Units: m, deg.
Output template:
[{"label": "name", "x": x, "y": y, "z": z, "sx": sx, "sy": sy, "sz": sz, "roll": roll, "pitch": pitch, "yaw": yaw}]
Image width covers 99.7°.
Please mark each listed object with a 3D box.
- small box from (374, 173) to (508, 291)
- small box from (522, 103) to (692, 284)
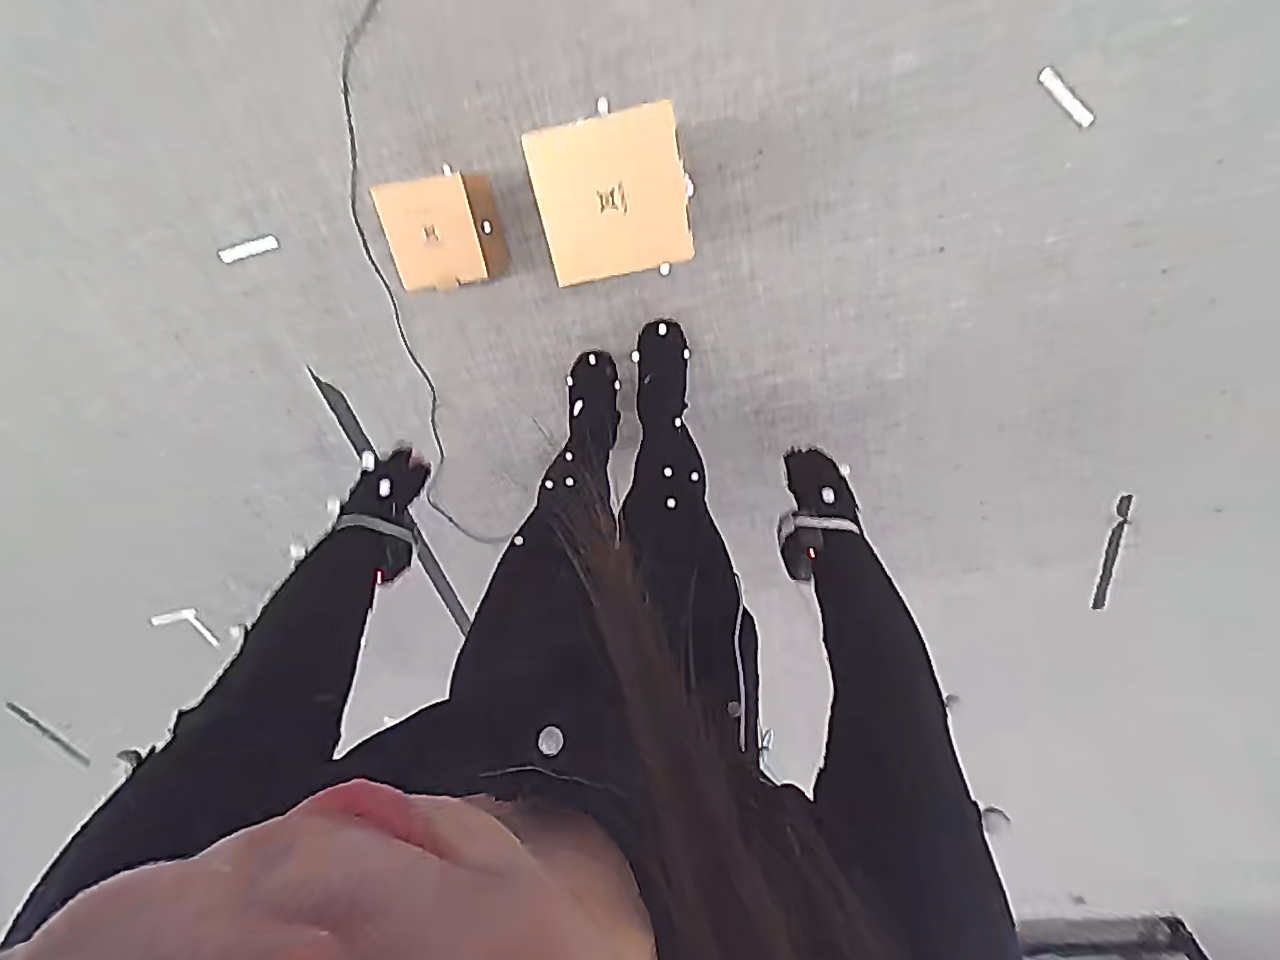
[{"label": "small box", "x": -0.366, "y": -0.479, "z": 1.038, "sx": 0.168, "sy": 0.176, "sz": 0.179, "roll": -6, "pitch": 120, "yaw": 5}, {"label": "small box", "x": -0.031, "y": -0.368, "z": 0.706, "sx": 0.179, "sy": 0.176, "sz": 0.168, "roll": -9, "pitch": 120, "yaw": 7}]
